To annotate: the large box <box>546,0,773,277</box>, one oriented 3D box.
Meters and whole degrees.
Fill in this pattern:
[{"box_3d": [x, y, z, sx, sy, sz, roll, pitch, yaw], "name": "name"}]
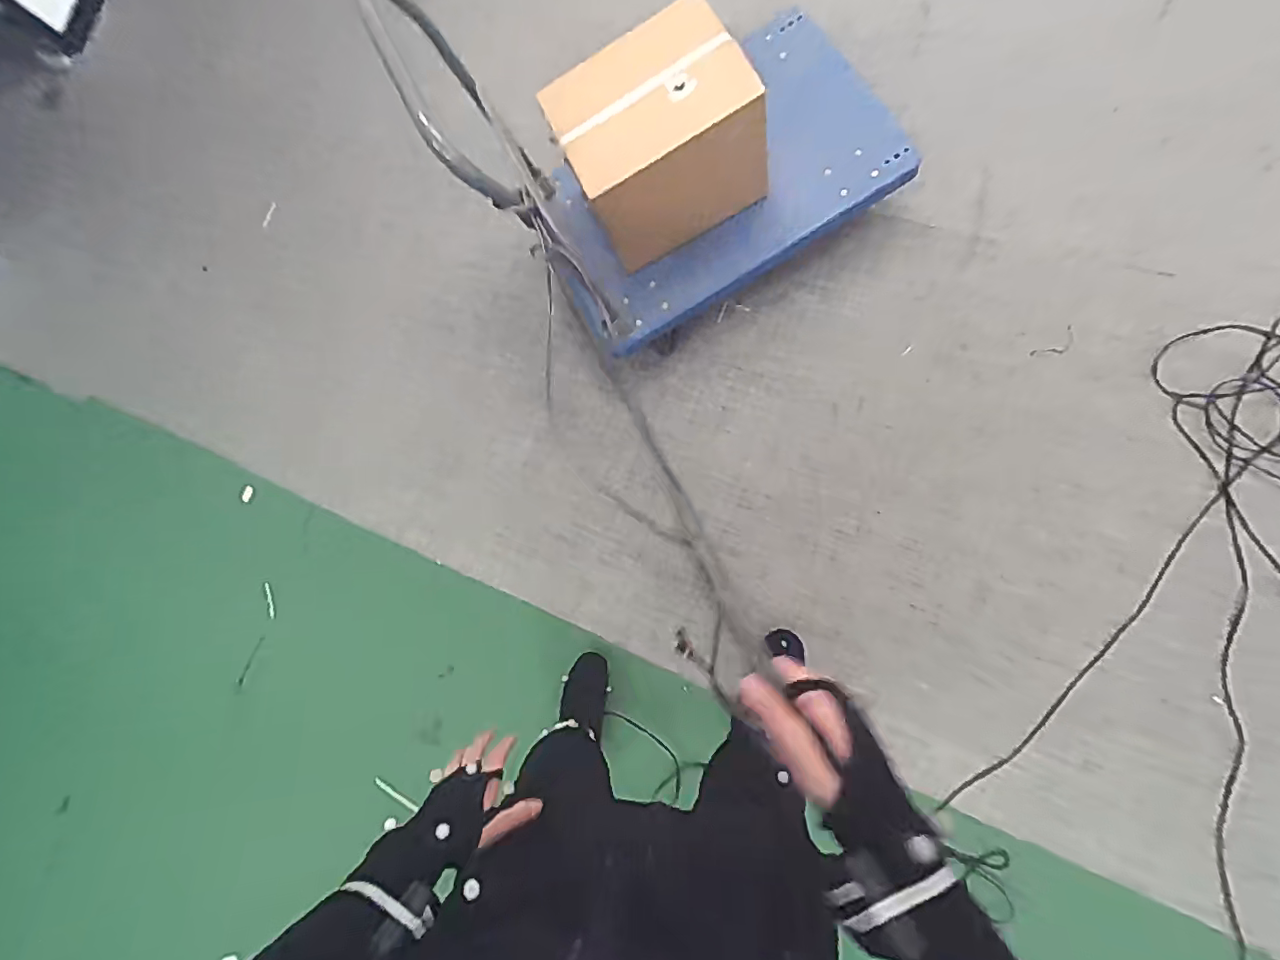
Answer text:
[{"box_3d": [0.059, -0.761, 1.259, 0.408, 0.320, 0.320, -27, 76, 8], "name": "large box"}]
